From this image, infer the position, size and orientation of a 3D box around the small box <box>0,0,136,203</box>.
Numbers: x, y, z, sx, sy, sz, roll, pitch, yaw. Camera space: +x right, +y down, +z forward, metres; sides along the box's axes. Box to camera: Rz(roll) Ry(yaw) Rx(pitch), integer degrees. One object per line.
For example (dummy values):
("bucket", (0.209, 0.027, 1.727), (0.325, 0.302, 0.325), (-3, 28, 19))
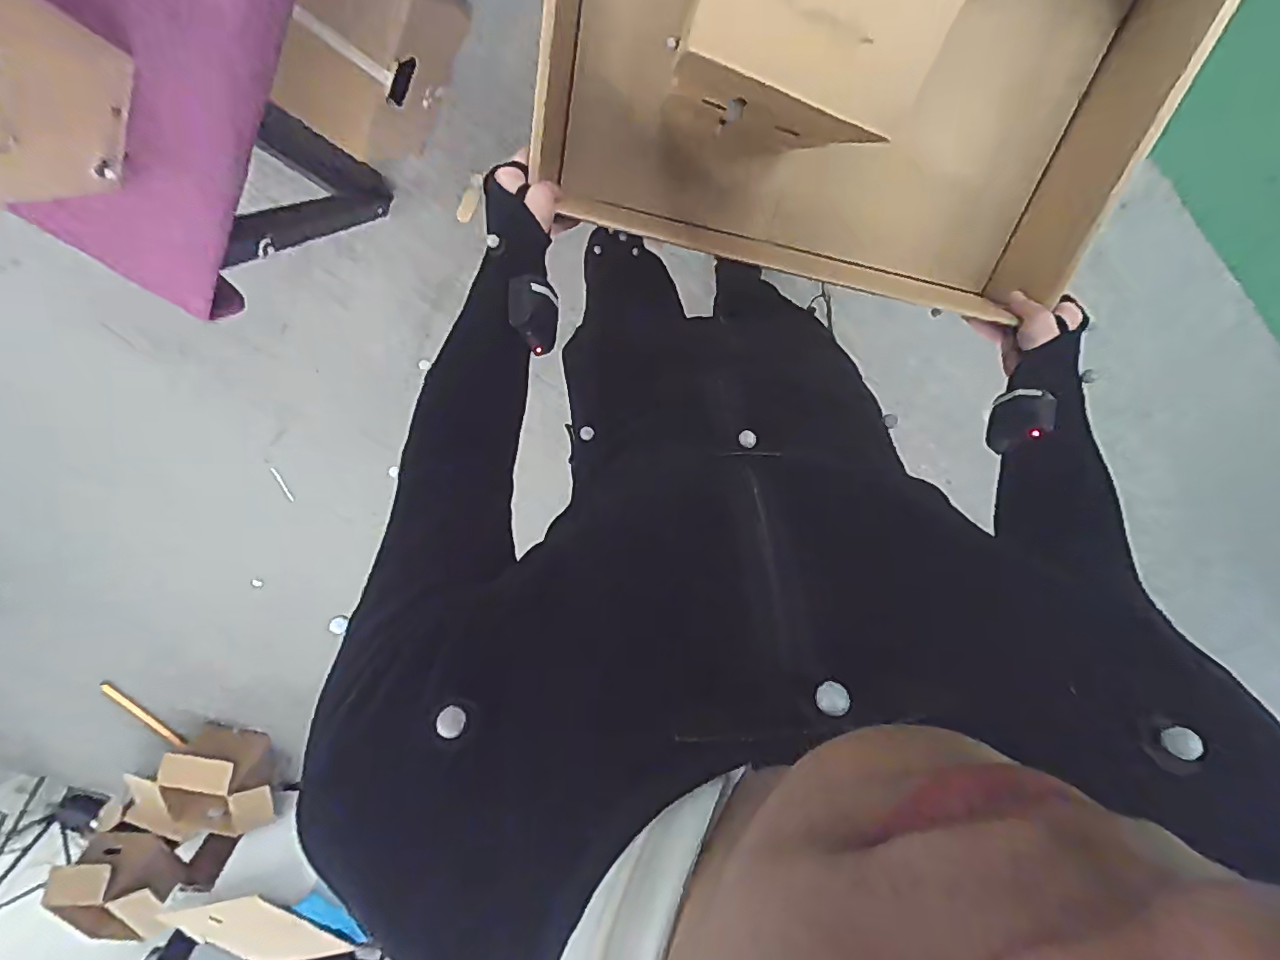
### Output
("small box", (-0.696, -0.428, 0.571), (0.179, 0.176, 0.168), (32, 118, -15))

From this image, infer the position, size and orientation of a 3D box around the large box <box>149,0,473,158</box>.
("large box", (-0.606, -0.900, 1.052), (0.408, 0.320, 0.320), (31, 118, -15))

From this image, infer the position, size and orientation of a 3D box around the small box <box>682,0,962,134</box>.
("small box", (0.137, -0.386, 0.402), (0.168, 0.176, 0.179), (18, 120, -10))

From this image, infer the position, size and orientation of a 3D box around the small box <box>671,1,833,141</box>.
("small box", (0.134, -0.466, 0.545), (0.168, 0.176, 0.179), (14, 121, -9))
